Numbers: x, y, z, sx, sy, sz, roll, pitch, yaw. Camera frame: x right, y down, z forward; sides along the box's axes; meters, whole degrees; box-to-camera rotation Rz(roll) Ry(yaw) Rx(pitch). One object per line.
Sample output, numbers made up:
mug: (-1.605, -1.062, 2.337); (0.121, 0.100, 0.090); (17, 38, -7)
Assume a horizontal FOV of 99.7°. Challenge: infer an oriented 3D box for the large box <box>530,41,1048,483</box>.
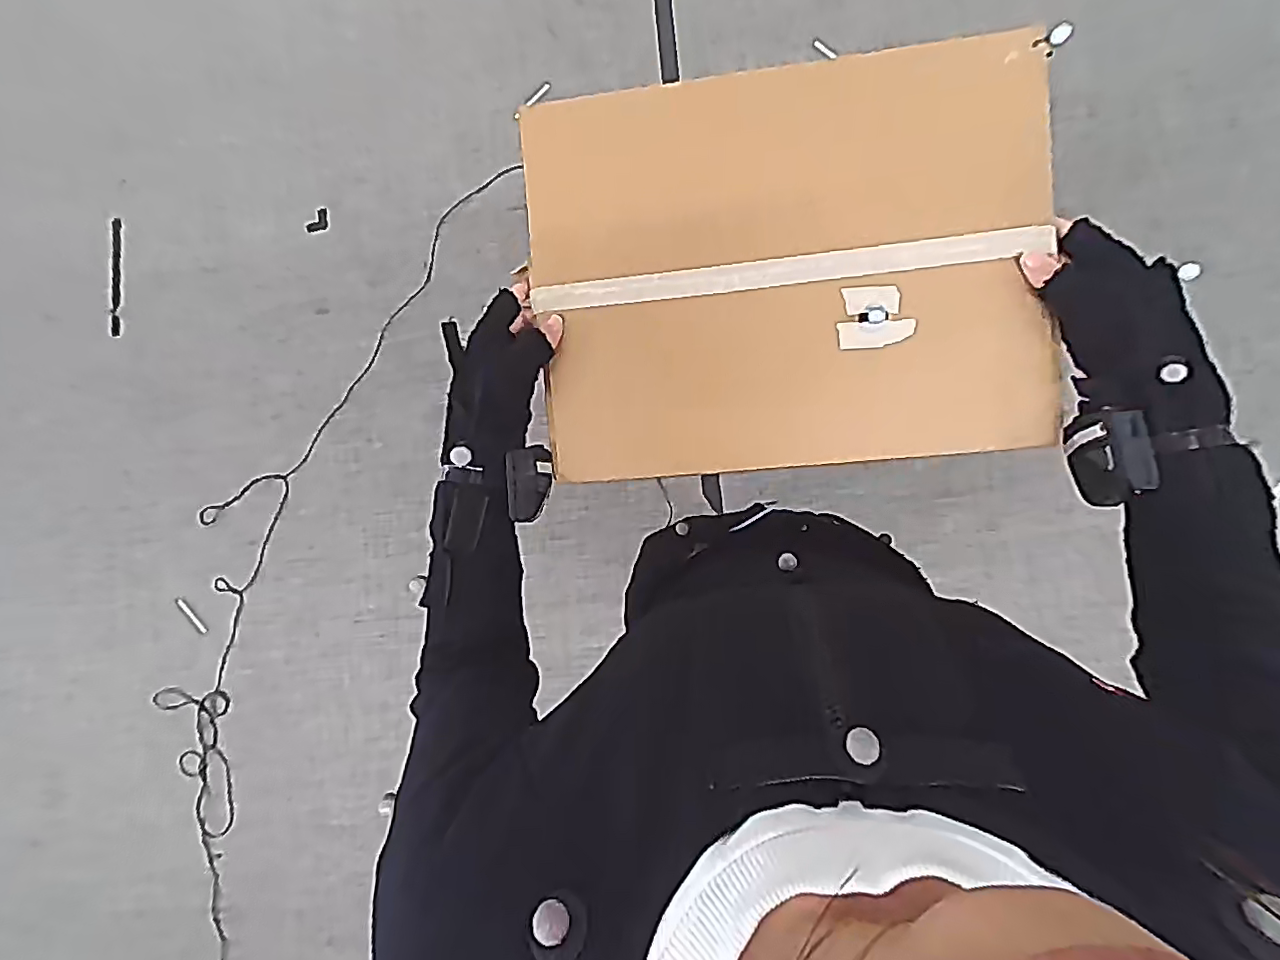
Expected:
large box: (0.129, -0.178, 0.593); (0.408, 0.320, 0.320); (-5, 94, 5)
